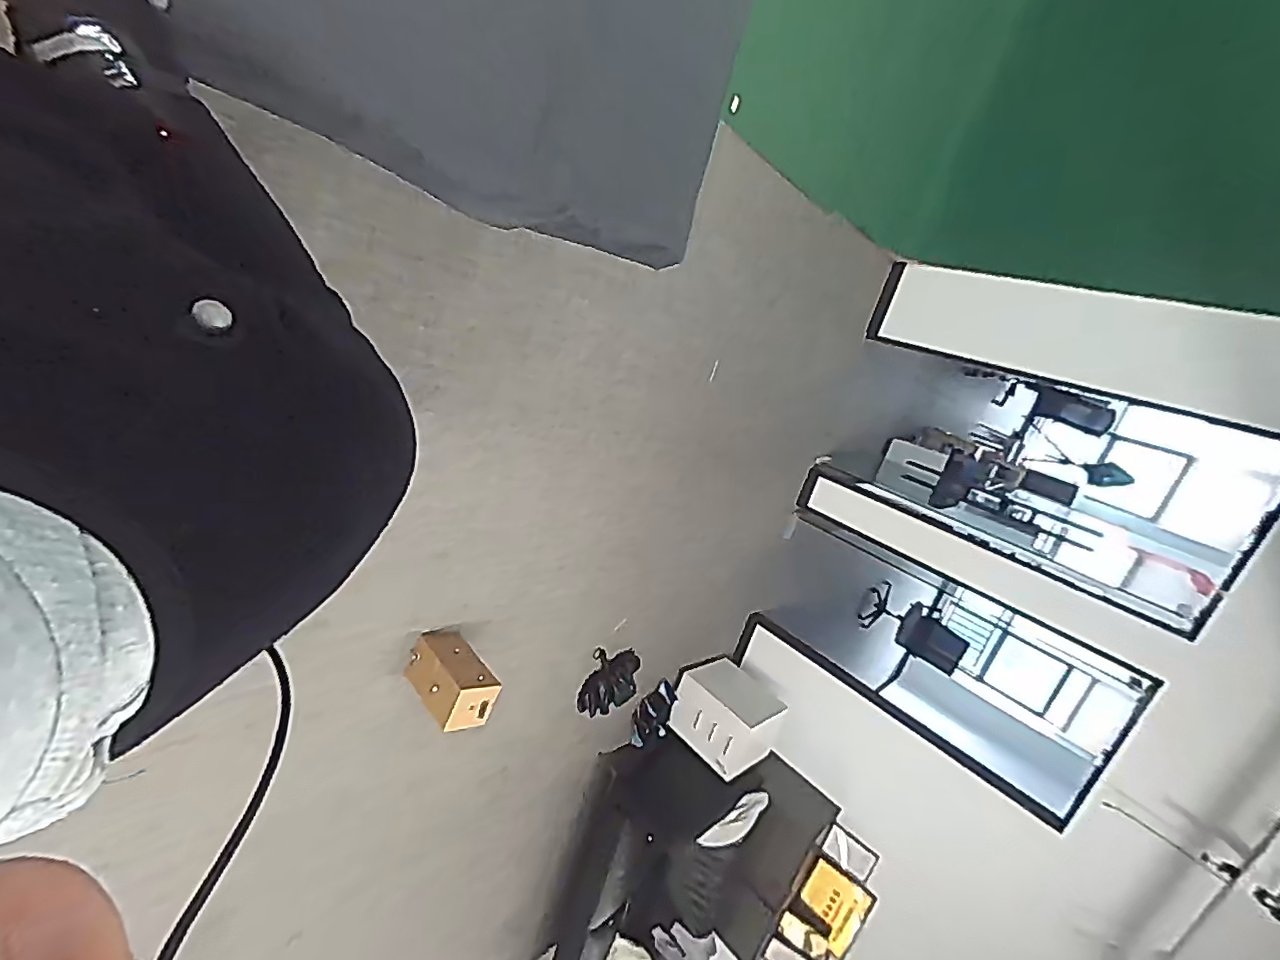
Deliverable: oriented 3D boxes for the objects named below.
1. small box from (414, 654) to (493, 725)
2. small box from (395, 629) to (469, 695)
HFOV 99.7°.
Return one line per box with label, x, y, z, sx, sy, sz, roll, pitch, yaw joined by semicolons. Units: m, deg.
small box;-0.670;0.742;1.936;0.179;0.176;0.168;18;98;-52
small box;-0.784;0.677;2.034;0.179;0.176;0.168;16;99;-51
